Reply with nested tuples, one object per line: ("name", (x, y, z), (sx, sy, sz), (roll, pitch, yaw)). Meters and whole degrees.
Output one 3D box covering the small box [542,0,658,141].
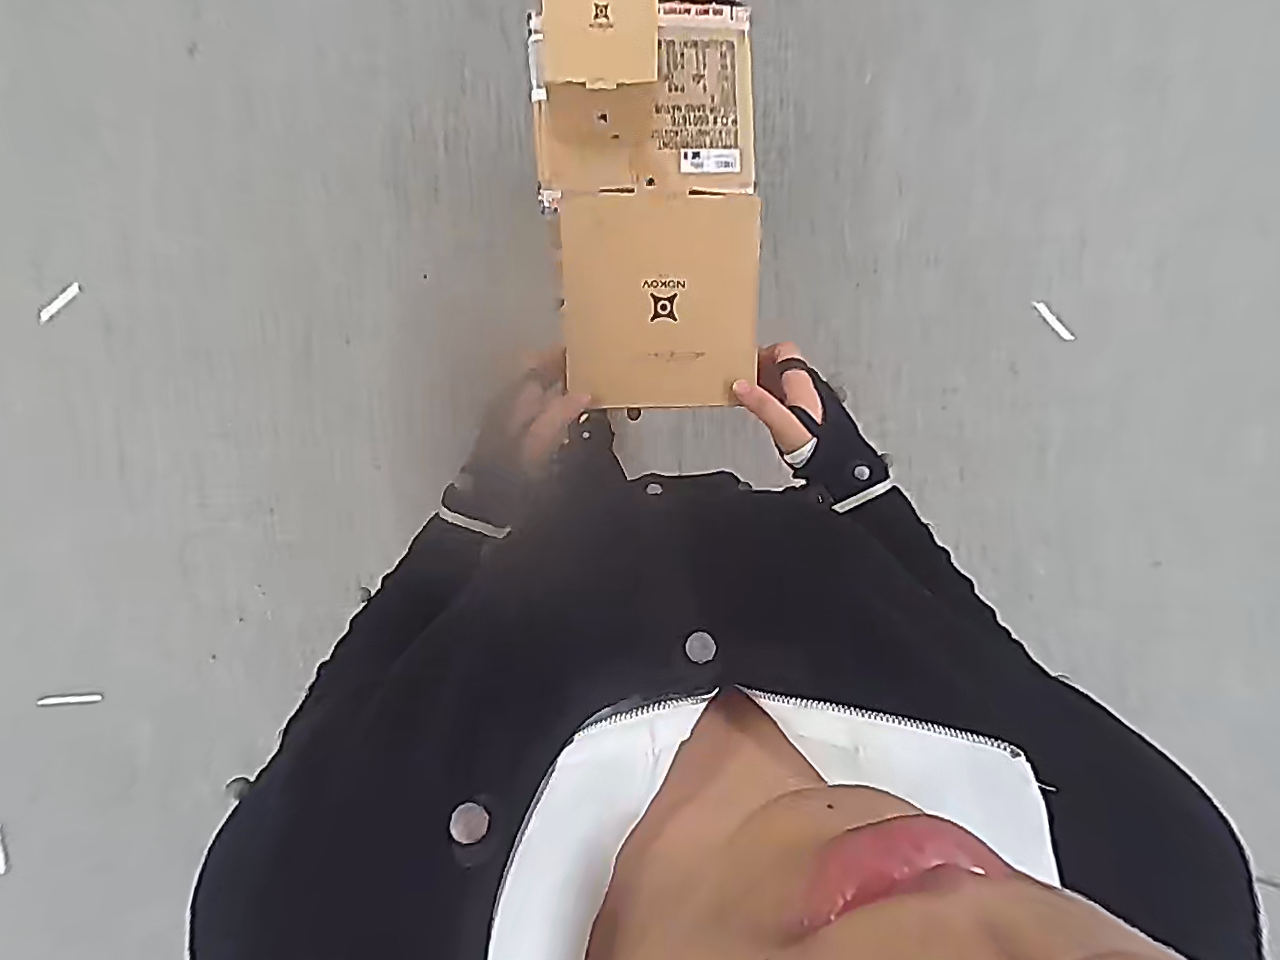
("small box", (-0.058, -0.656, 0.842), (0.168, 0.176, 0.179), (0, 97, -2))
